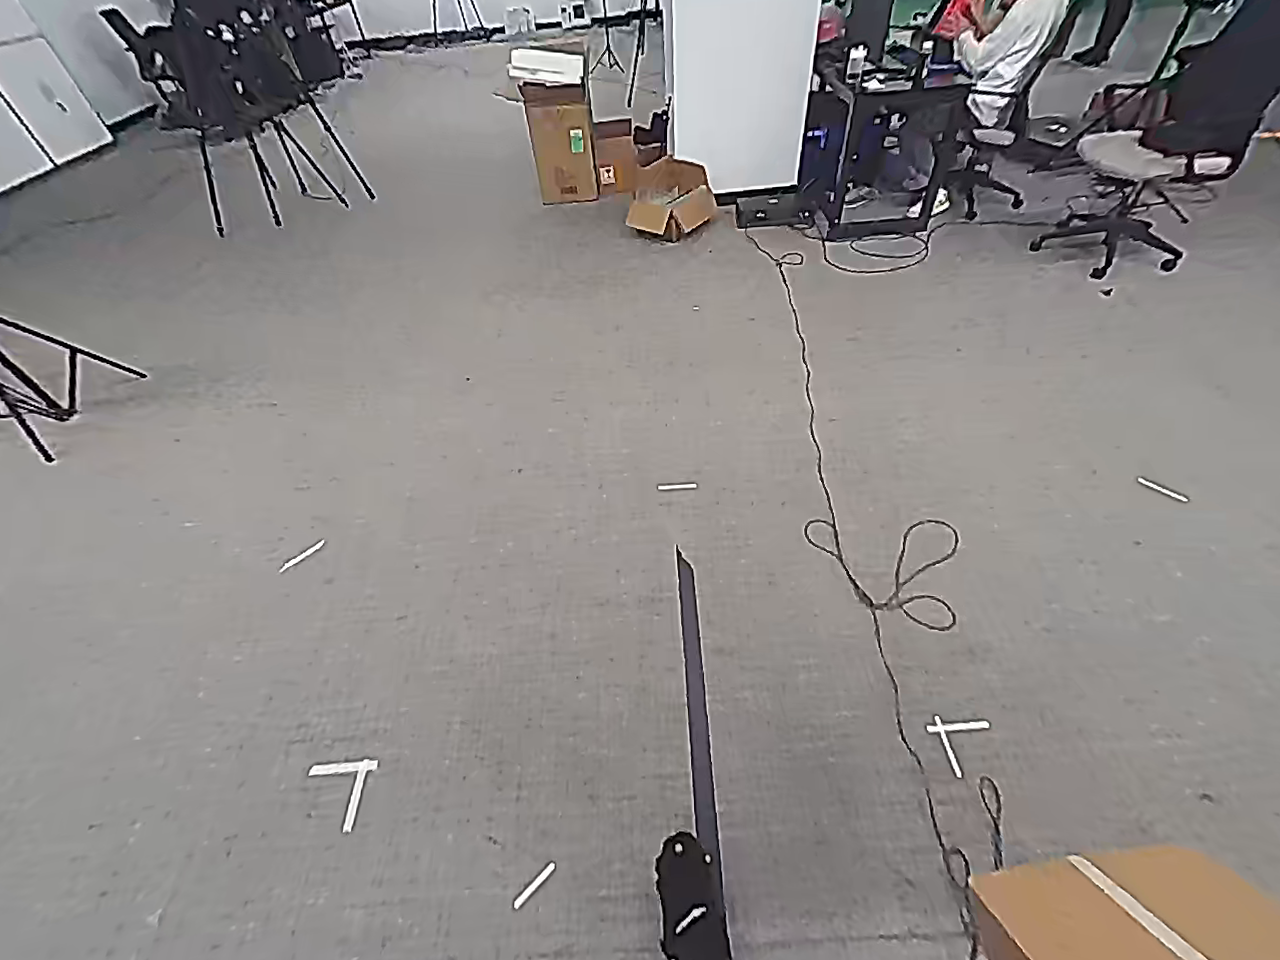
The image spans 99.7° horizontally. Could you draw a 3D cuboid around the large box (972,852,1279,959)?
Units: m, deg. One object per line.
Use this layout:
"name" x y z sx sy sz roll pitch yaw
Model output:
"large box" 0.644 0.687 0.570 0.320 0.408 0.320 -13 84 4
